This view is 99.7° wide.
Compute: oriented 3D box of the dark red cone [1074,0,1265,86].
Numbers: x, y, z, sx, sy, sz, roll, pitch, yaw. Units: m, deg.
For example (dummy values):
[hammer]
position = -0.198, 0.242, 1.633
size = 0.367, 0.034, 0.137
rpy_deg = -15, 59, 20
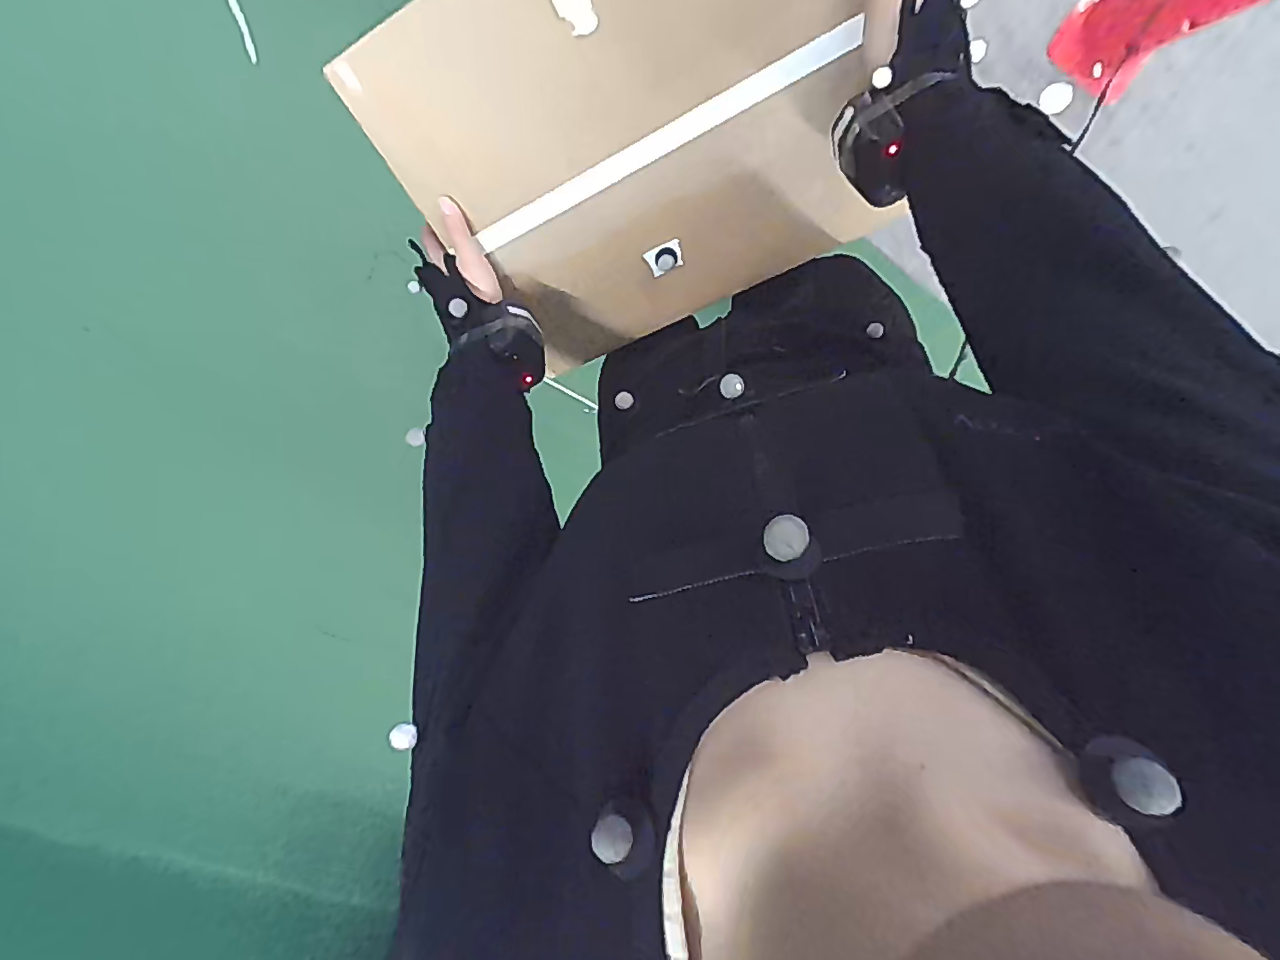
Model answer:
[dark red cone]
position = 0.931, -0.787, 0.846
size = 0.202, 0.394, 0.201
rpy_deg = 21, 117, -14
